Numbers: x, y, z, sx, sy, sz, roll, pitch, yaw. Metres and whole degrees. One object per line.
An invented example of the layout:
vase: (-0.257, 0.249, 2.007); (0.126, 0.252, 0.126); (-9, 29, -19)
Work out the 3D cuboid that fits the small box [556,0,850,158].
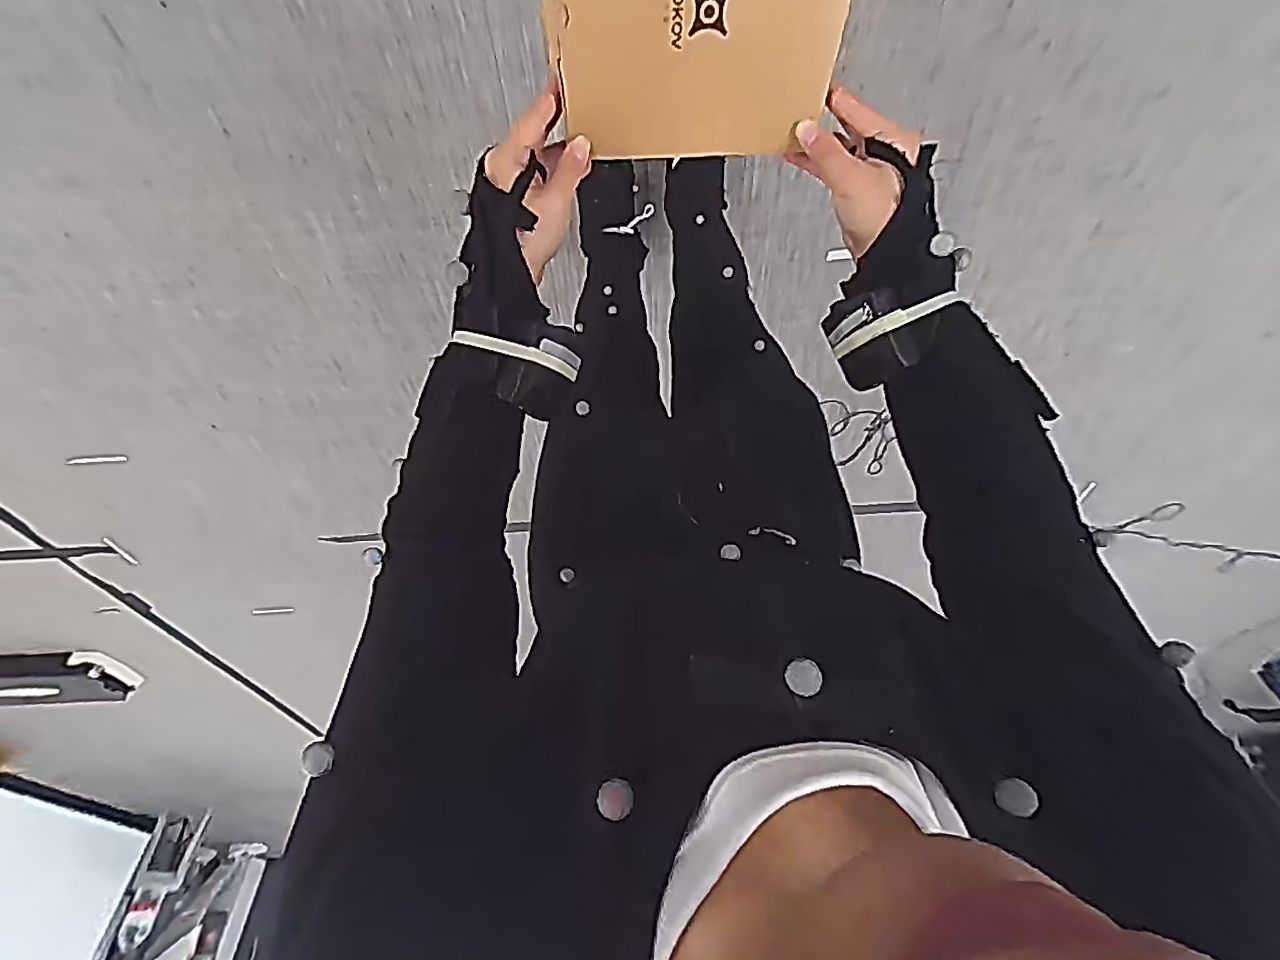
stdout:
small box: (0.033, -0.344, 0.359); (0.179, 0.176, 0.168); (-3, 149, -2)
